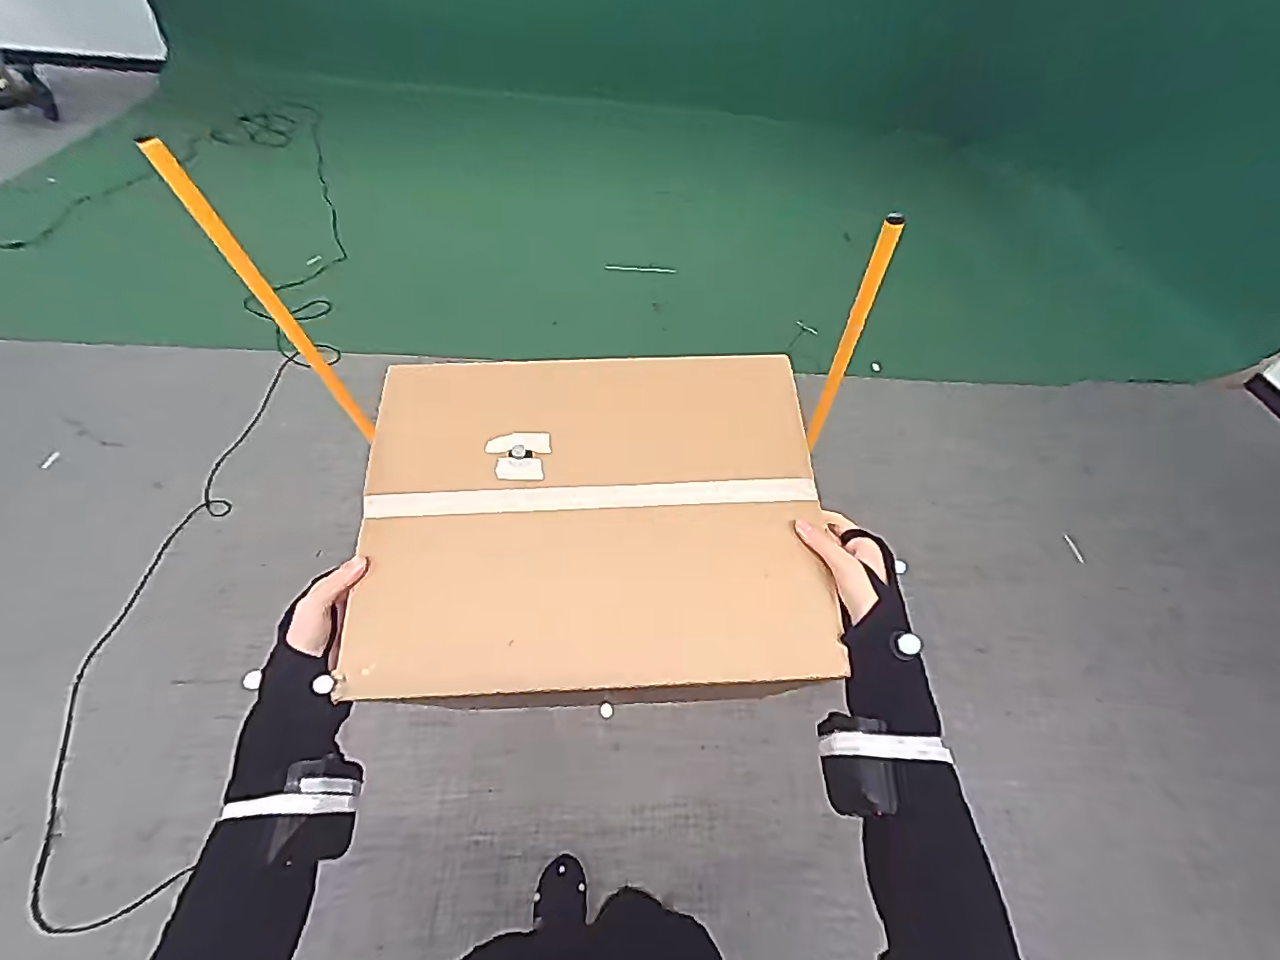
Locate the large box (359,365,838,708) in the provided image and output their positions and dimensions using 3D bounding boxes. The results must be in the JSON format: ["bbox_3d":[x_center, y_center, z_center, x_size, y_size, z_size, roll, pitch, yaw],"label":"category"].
[{"bbox_3d":[-0.038,0.089,0.639,0.408,0.320,0.320,-2,64,-1],"label":"large box"}]
